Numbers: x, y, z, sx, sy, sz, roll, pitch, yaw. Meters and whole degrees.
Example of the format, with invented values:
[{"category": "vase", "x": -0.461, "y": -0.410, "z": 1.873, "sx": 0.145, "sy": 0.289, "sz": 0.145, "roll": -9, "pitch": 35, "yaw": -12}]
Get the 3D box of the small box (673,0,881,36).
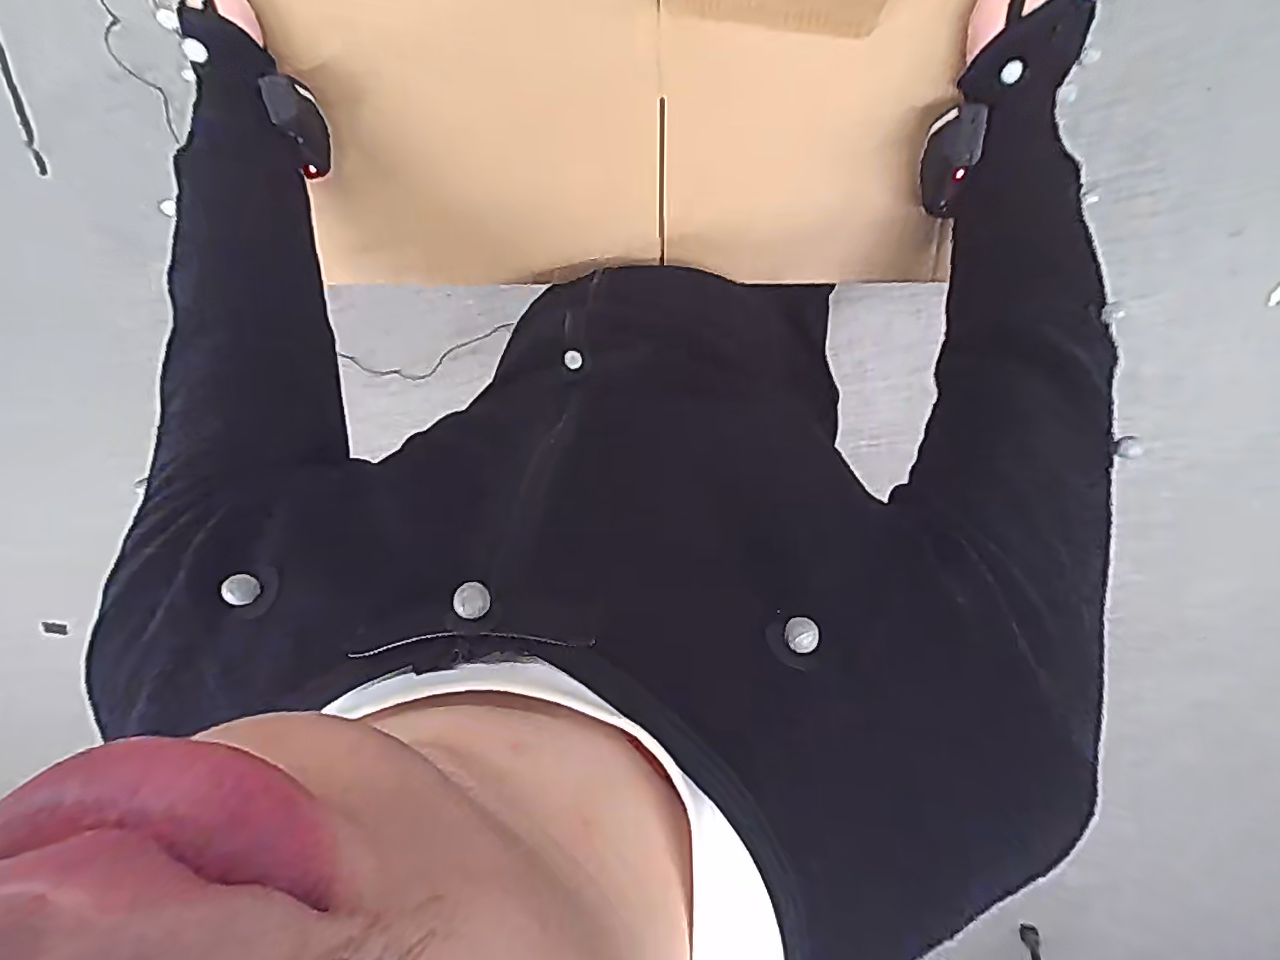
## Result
[{"category": "small box", "x": 0.109, "y": -0.439, "z": 0.364, "sx": 0.179, "sy": 0.176, "sz": 0.168, "roll": 12, "pitch": 110, "yaw": 6}]
